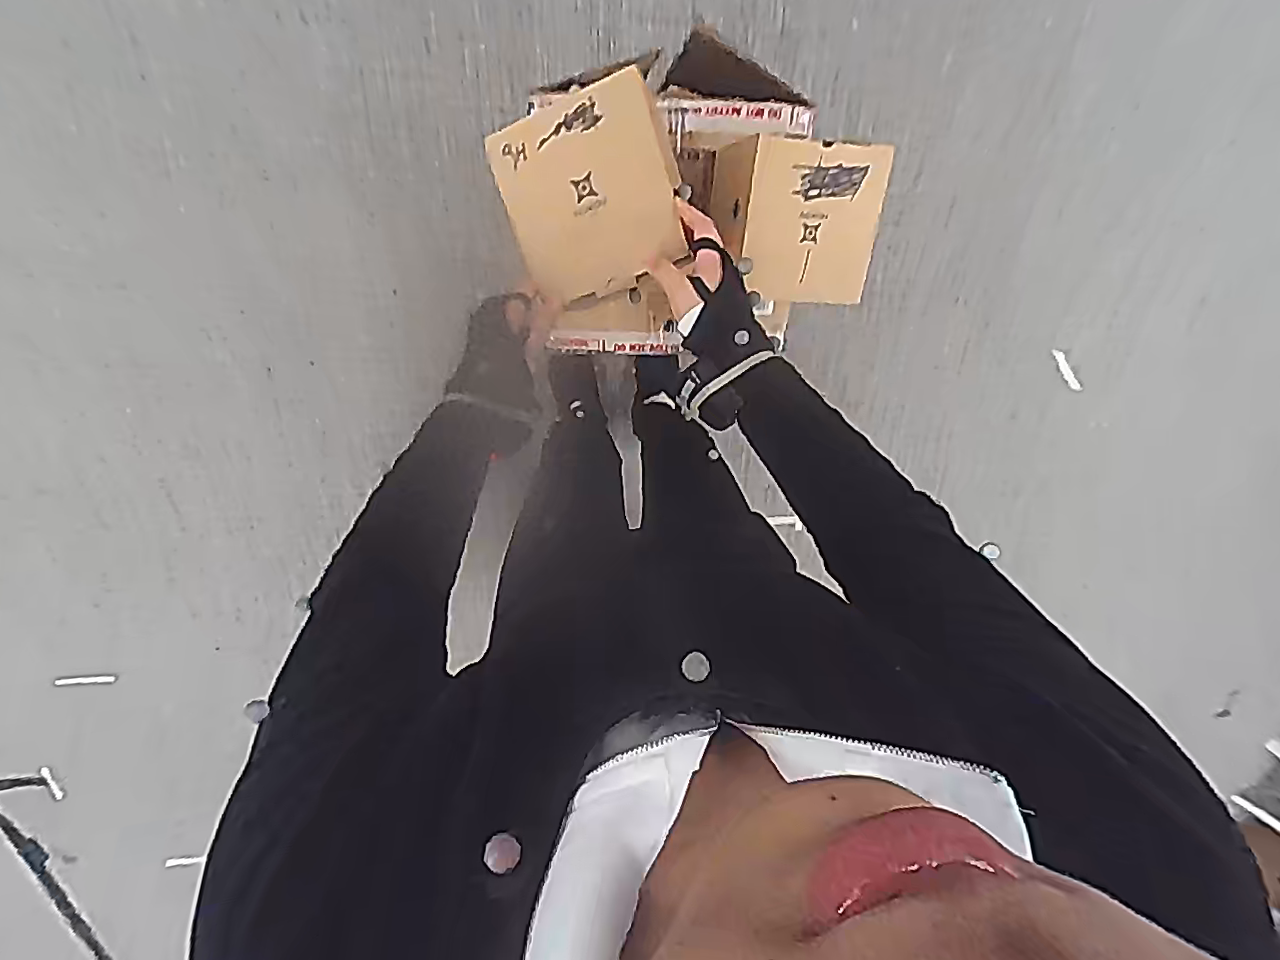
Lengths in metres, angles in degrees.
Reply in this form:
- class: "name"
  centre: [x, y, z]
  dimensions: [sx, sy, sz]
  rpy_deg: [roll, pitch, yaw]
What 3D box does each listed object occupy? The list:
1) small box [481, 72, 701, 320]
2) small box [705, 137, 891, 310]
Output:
- class: "small box"
  centre: [-0.037, -0.294, 0.599]
  dimensions: [0.168, 0.176, 0.179]
  rpy_deg: [-16, 105, 16]
- class: "small box"
  centre: [0.190, -0.330, 0.710]
  dimensions: [0.168, 0.176, 0.179]
  rpy_deg: [0, 116, -9]
